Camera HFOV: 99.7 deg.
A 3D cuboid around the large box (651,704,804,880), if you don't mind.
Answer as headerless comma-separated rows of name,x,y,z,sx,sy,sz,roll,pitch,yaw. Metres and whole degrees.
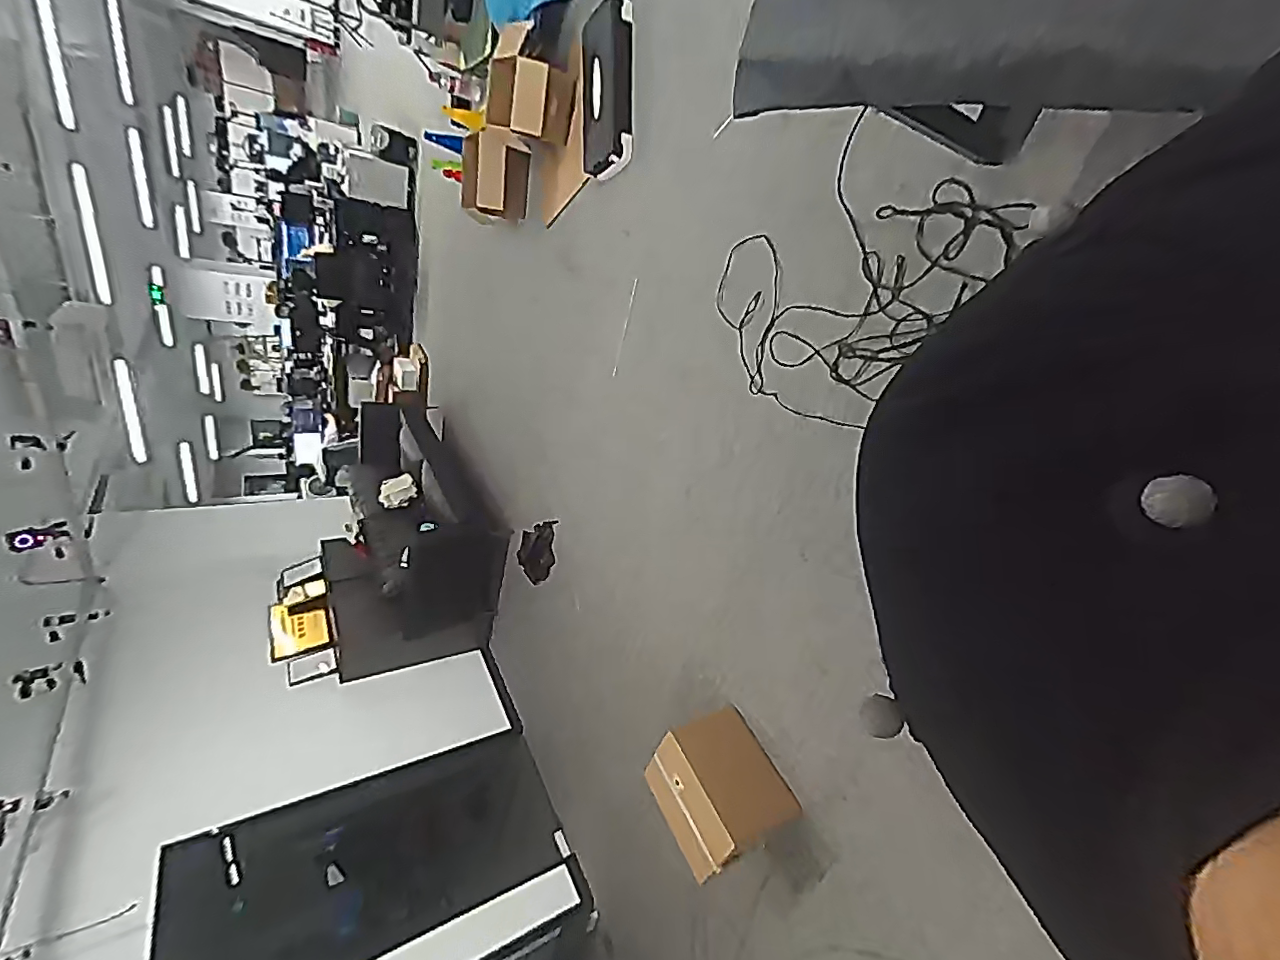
large box,0.301,1.101,1.940,0.408,0.320,0.320,53,134,40
